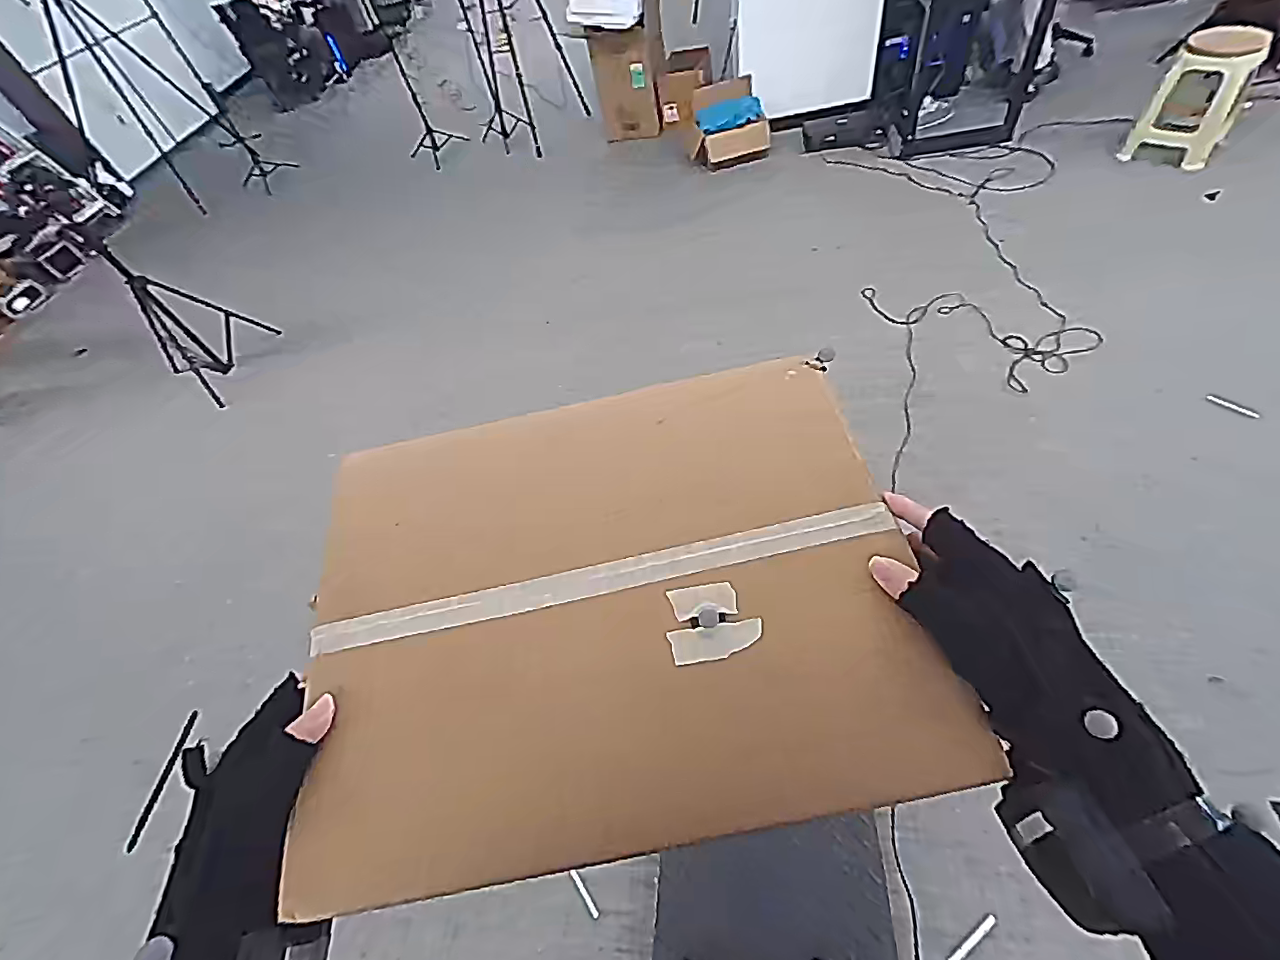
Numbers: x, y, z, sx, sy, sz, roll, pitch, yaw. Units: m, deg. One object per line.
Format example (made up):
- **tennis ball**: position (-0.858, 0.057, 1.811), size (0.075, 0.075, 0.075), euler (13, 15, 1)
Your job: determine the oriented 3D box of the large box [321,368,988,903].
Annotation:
- **large box**: position (-0.001, 0.149, 0.513), size (0.408, 0.320, 0.320), euler (-12, 59, 1)
